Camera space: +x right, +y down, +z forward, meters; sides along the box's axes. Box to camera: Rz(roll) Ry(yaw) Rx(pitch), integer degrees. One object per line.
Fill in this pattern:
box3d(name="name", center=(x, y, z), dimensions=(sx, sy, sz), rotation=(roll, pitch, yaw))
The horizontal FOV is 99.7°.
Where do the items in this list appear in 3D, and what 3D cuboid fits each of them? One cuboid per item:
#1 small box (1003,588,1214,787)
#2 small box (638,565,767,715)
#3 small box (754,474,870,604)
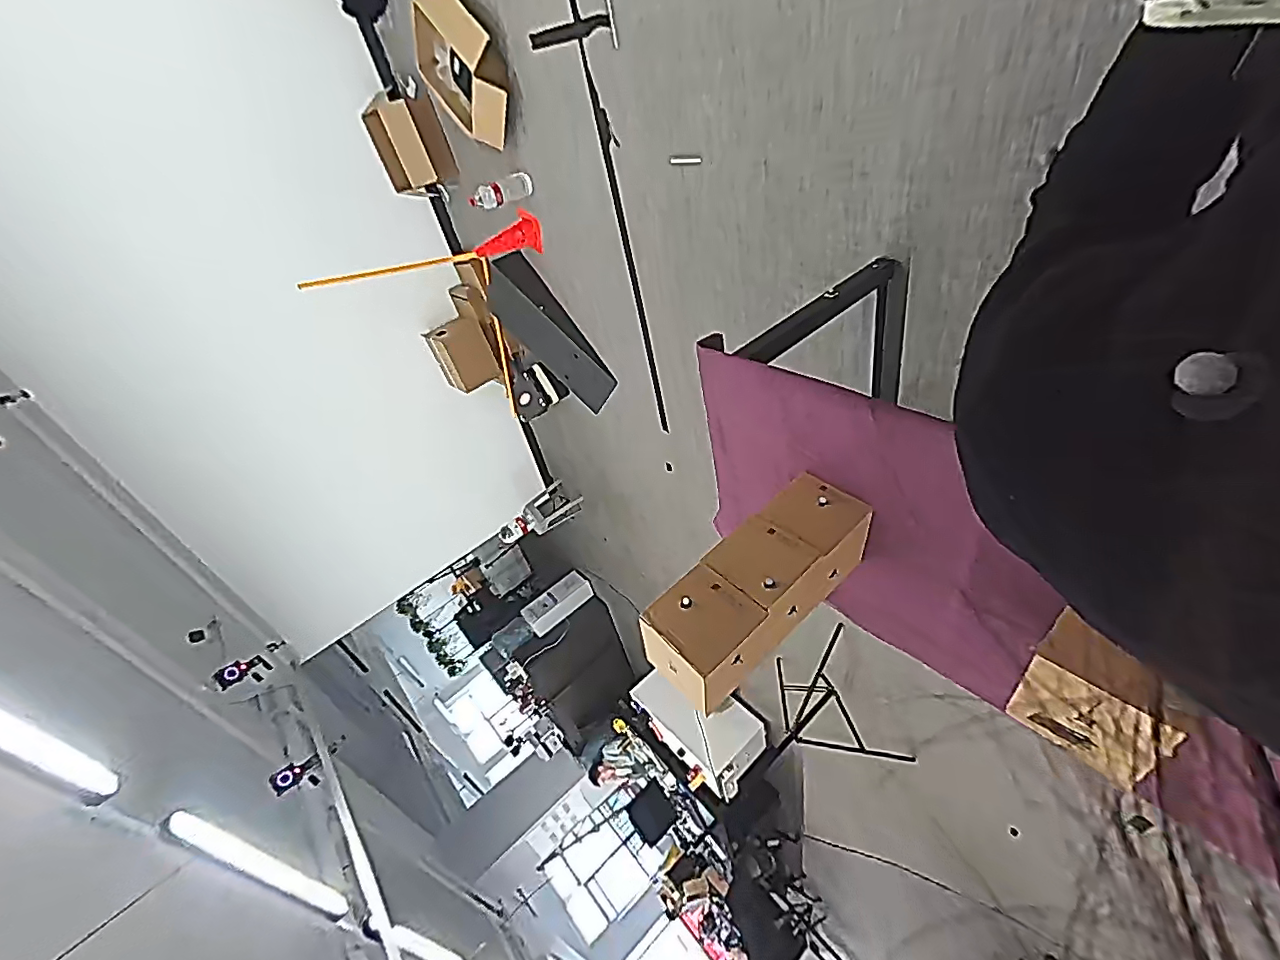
box3d(name="small box", center=(0.681, 0.298, 0.795), dimensions=(0.168, 0.176, 0.179), rotation=(32, 147, 40))
box3d(name="small box", center=(0.121, 0.292, 1.008), dimensions=(0.168, 0.176, 0.179), rotation=(37, 152, 36))
box3d(name="small box", center=(0.362, 0.121, 1.148), dimensions=(0.168, 0.176, 0.179), rotation=(34, 149, 36))
